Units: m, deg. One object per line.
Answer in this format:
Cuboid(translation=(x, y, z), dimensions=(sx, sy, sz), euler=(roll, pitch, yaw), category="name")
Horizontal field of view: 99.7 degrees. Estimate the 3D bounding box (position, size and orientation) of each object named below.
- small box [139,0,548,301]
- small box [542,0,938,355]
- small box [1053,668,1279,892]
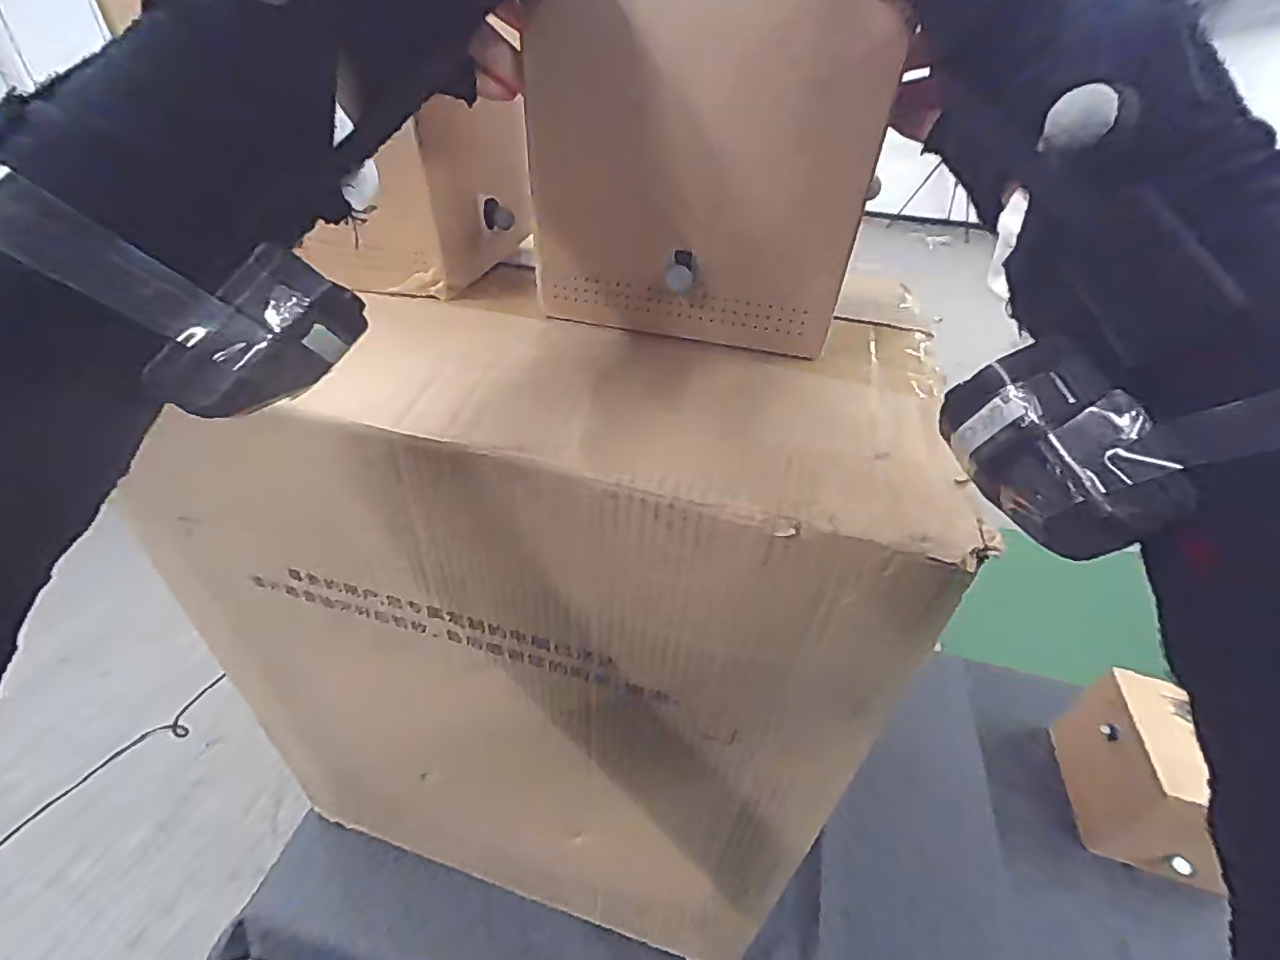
Cuboid(translation=(-0.176, -0.240, 0.378), dimensions=(0.179, 0.176, 0.168), euler=(10, 42, 7), category="small box")
Cuboid(translation=(0.052, -0.196, 0.342), dimensions=(0.179, 0.176, 0.168), euler=(12, 40, 9), category="small box")
Cuboid(translation=(0.688, 0.388, 0.708), dimensions=(0.168, 0.176, 0.179), euler=(13, 38, 12), category="small box")
